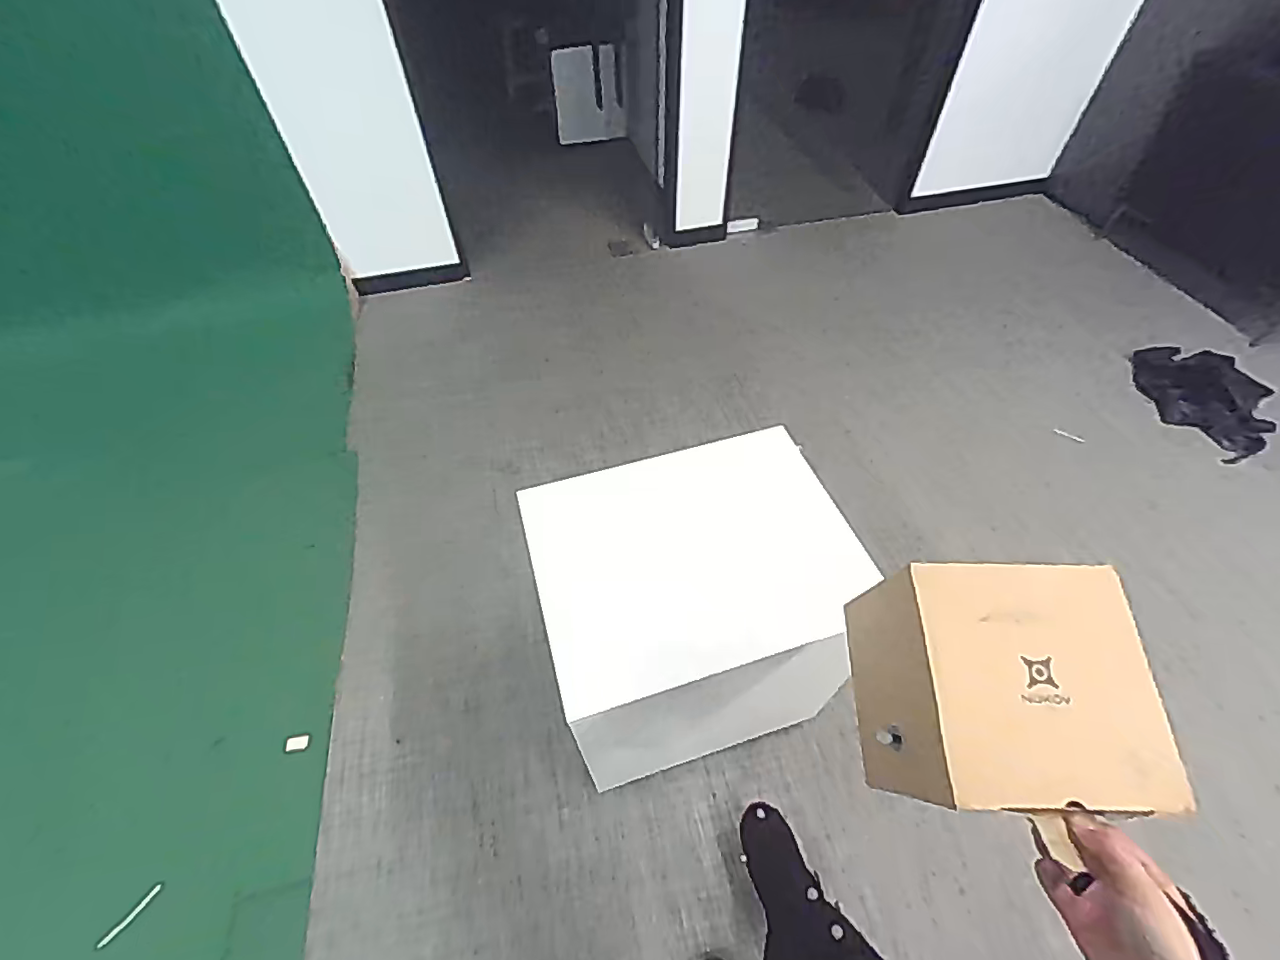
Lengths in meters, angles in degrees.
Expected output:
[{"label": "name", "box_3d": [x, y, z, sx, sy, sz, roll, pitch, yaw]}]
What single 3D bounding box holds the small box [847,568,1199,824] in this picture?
[{"label": "small box", "box_3d": [0.298, 0.184, 0.472, 0.168, 0.176, 0.179, 0, 65, 1]}]
